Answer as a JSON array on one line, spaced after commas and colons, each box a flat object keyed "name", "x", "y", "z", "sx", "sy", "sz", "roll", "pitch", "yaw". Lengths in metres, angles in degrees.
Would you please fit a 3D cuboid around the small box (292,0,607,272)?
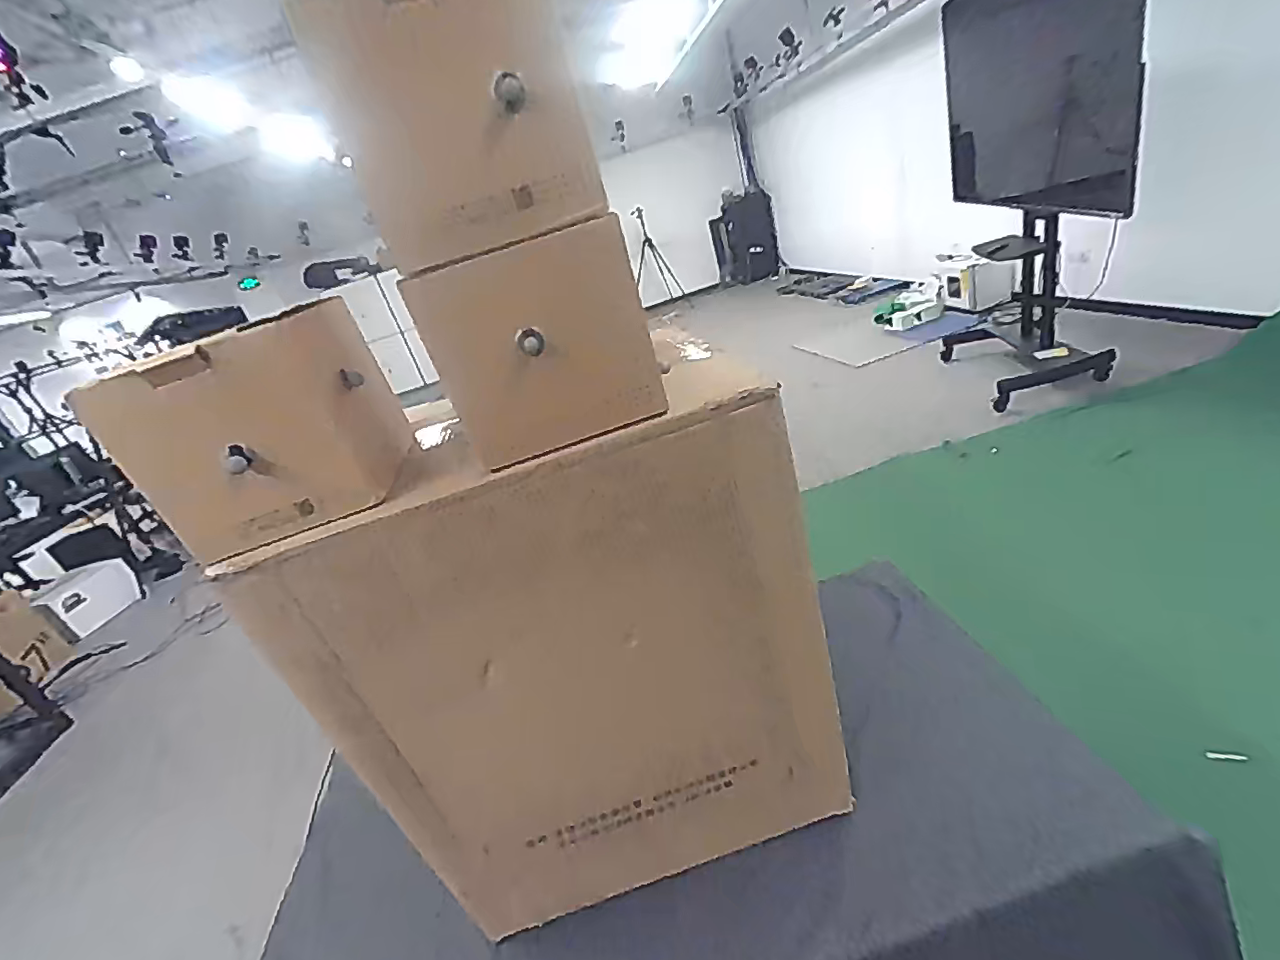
[{"name": "small box", "x": -0.135, "y": -0.278, "z": 0.445, "sx": 0.168, "sy": 0.176, "sz": 0.179, "roll": -18, "pitch": 26, "yaw": -6}]

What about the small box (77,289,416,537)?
[{"name": "small box", "x": -0.338, "y": -0.063, "z": 0.517, "sx": 0.168, "sy": 0.176, "sz": 0.179, "roll": -19, "pitch": 28, "yaw": -2}]

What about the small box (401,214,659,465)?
[{"name": "small box", "x": -0.089, "y": -0.138, "z": 0.510, "sx": 0.179, "sy": 0.176, "sz": 0.168, "roll": -19, "pitch": 27, "yaw": -2}]
